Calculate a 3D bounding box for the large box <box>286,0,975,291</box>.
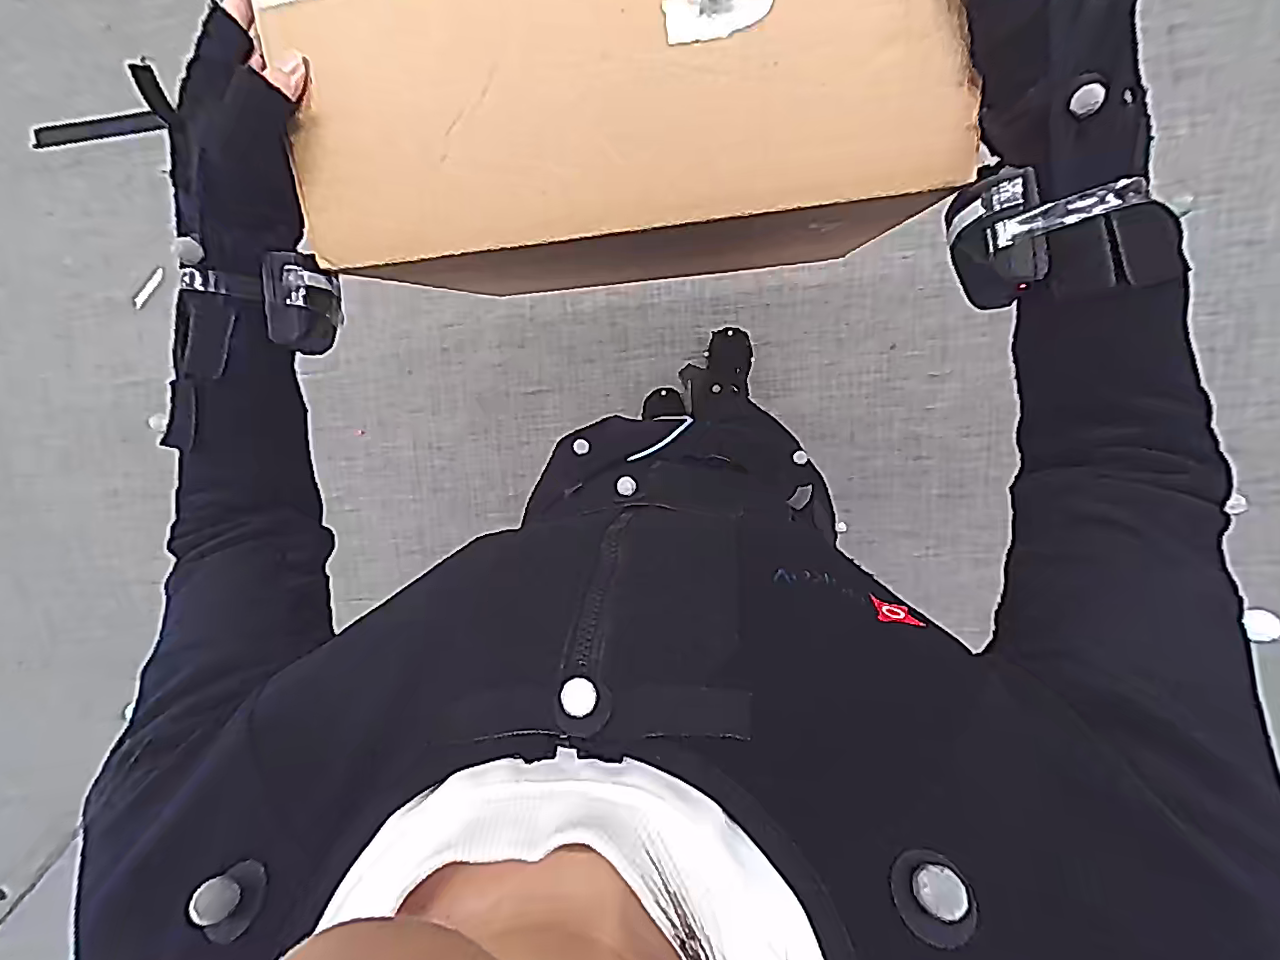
[{"bbox_3d":[-0.006,-0.352,0.445,0.408,0.320,0.320,-4,106,8],"label":"large box"}]
